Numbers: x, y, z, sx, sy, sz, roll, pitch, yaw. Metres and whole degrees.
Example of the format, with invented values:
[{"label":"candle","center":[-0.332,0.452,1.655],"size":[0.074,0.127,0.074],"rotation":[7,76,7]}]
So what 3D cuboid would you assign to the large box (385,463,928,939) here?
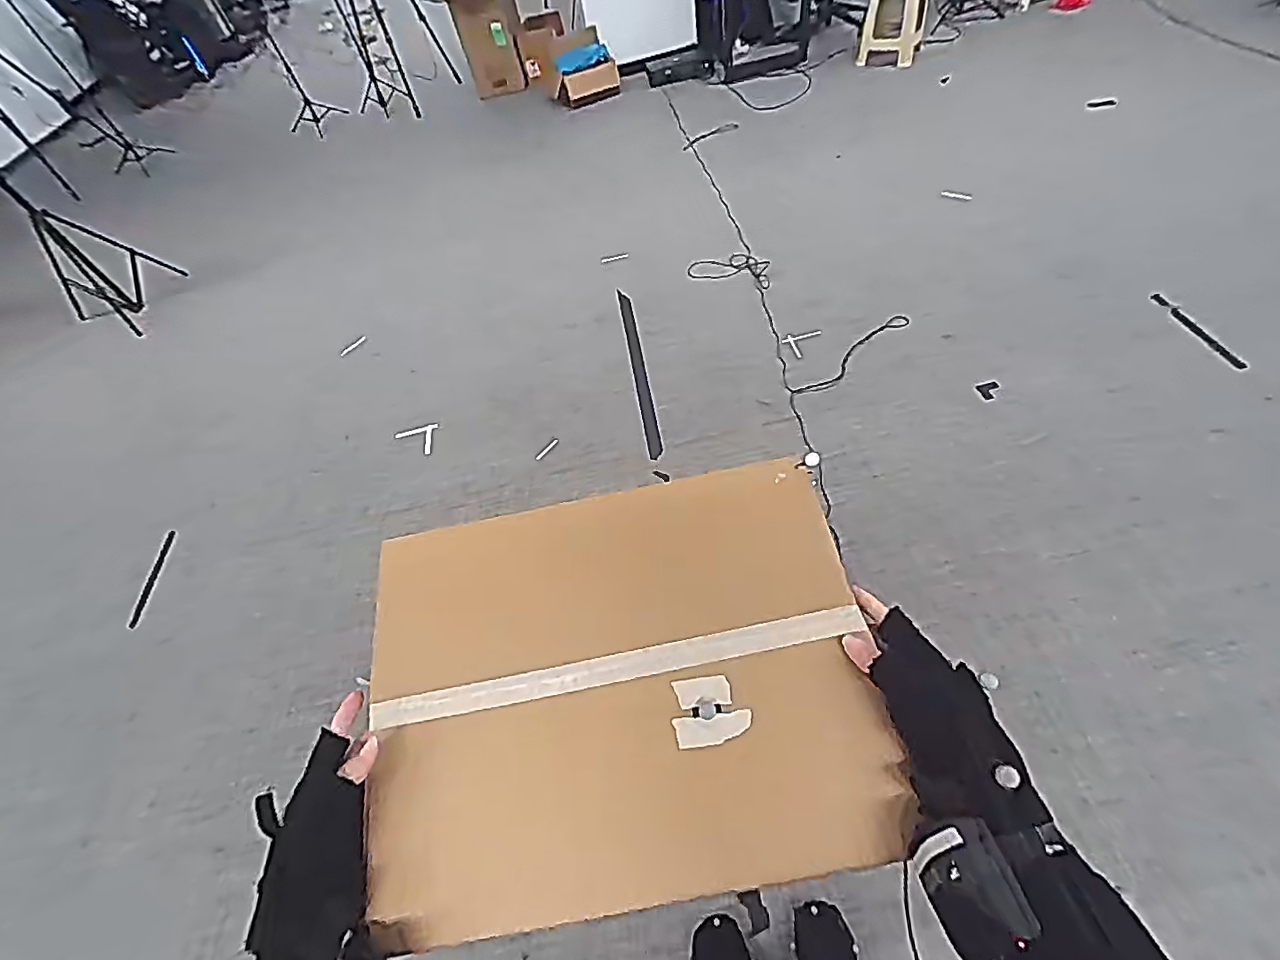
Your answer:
[{"label":"large box","center":[0.000,0.224,0.583],"size":[0.408,0.320,0.320],"rotation":[-11,62,0]}]
